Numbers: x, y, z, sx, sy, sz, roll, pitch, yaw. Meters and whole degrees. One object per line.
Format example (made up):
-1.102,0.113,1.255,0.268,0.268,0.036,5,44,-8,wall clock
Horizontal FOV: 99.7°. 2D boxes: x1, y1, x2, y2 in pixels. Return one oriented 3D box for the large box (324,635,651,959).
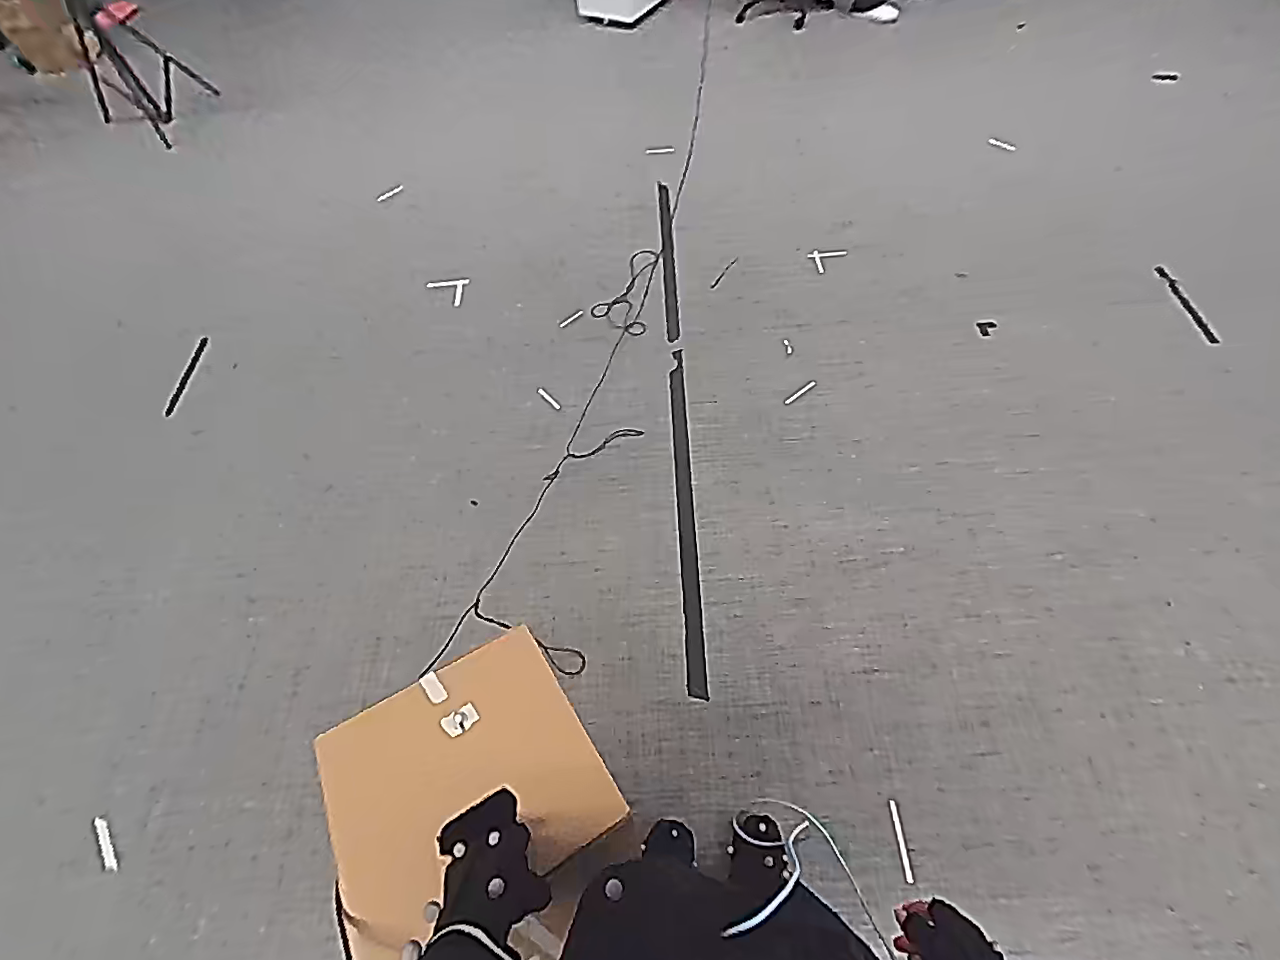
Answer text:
-0.207,0.516,0.824,0.320,0.408,0.320,-26,47,-20,large box
